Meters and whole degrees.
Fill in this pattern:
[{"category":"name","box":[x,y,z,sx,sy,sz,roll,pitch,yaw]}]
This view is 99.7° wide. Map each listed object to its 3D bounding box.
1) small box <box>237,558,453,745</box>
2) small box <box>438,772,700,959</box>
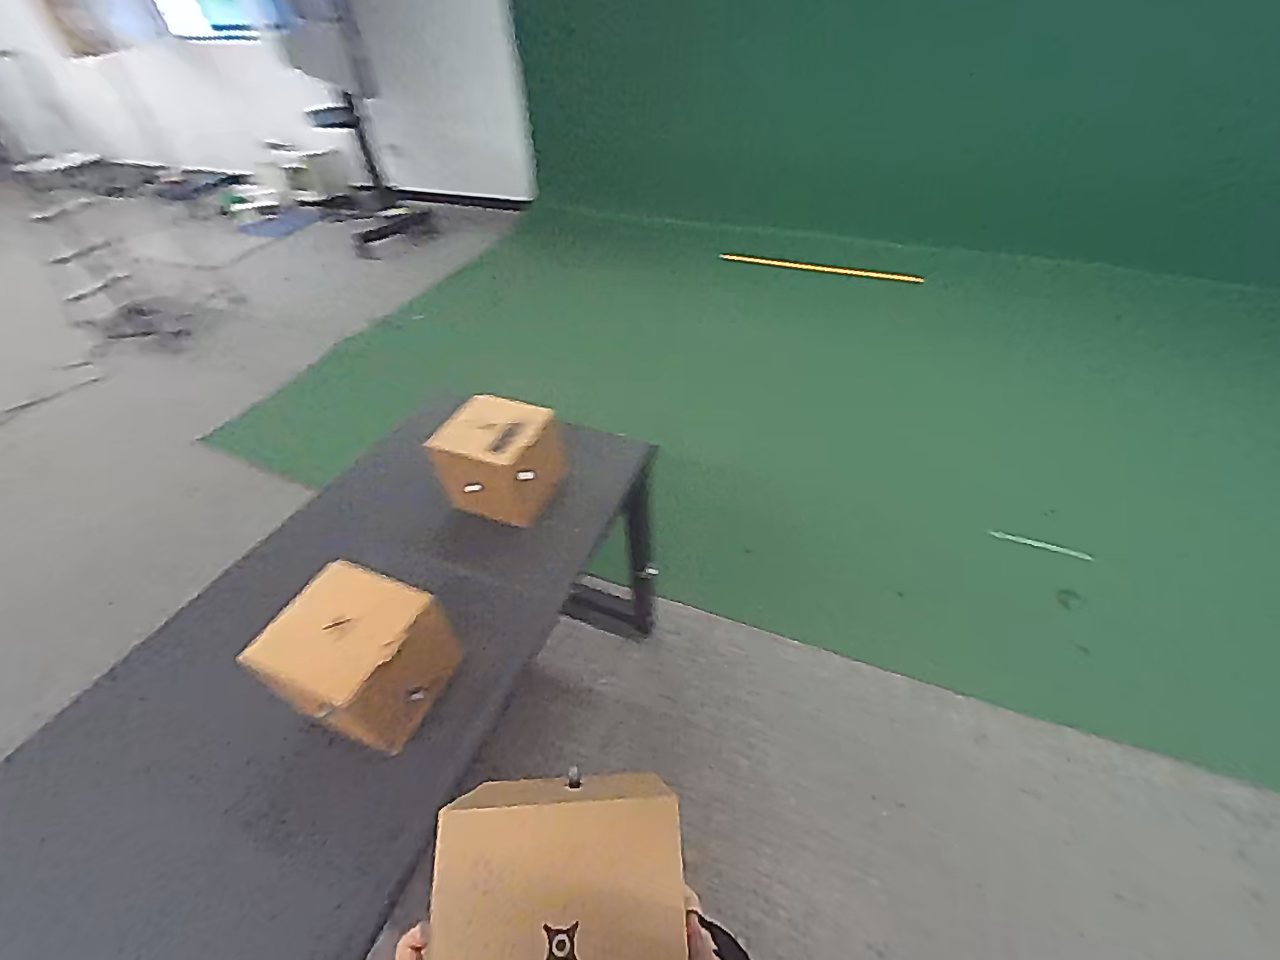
[{"category":"small box","box":[-0.397,0.243,0.762,0.179,0.176,0.168,15,47,16]},{"category":"small box","box":[-0.051,0.326,0.412,0.168,0.176,0.179,1,67,-4]}]
